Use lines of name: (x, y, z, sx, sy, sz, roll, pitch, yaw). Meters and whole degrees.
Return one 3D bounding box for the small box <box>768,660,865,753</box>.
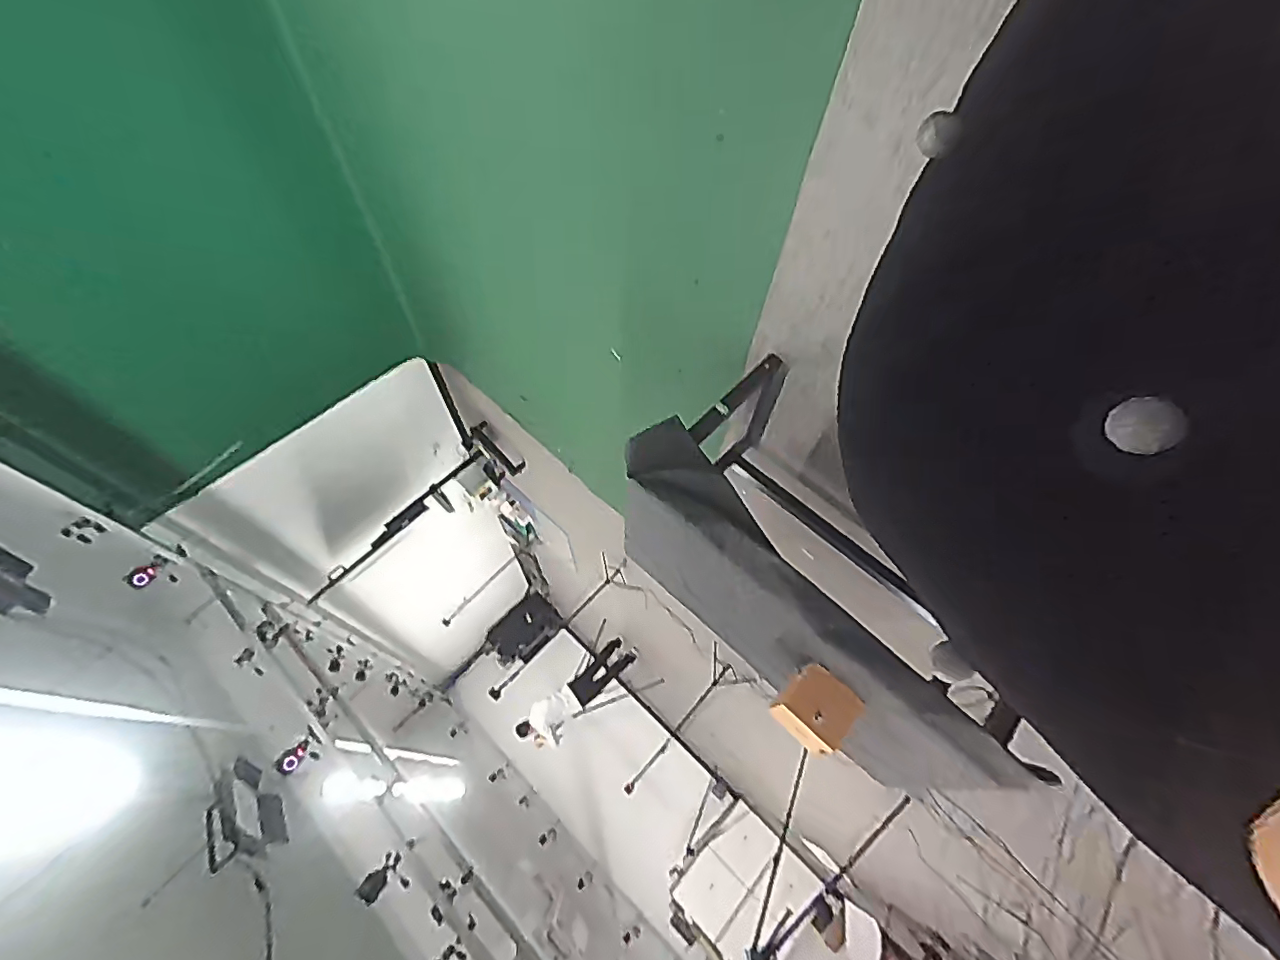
small box: (0.503, 0.645, 1.542, 0.179, 0.176, 0.168, 42, 156, 16)
